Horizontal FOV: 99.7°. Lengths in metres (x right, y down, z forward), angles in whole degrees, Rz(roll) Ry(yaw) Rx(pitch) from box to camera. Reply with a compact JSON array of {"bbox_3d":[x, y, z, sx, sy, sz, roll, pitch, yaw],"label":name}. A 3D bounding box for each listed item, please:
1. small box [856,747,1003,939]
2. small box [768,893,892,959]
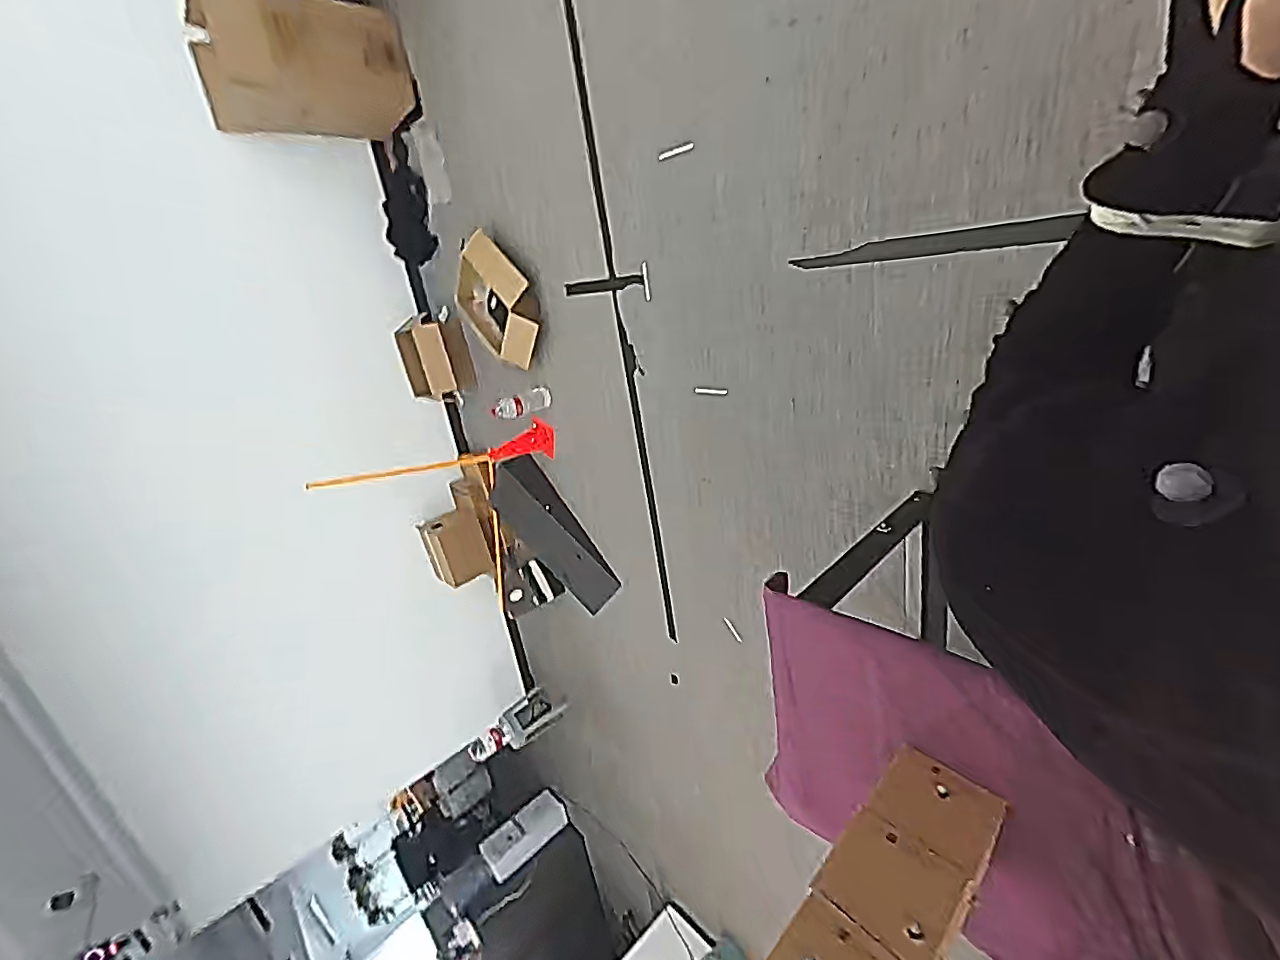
[{"bbox_3d":[0.494,0.609,0.927,0.168,0.176,0.179,20,125,42],"label":"small box"},{"bbox_3d":[0.259,0.719,0.728,0.168,0.176,0.179,23,129,43],"label":"small box"}]
